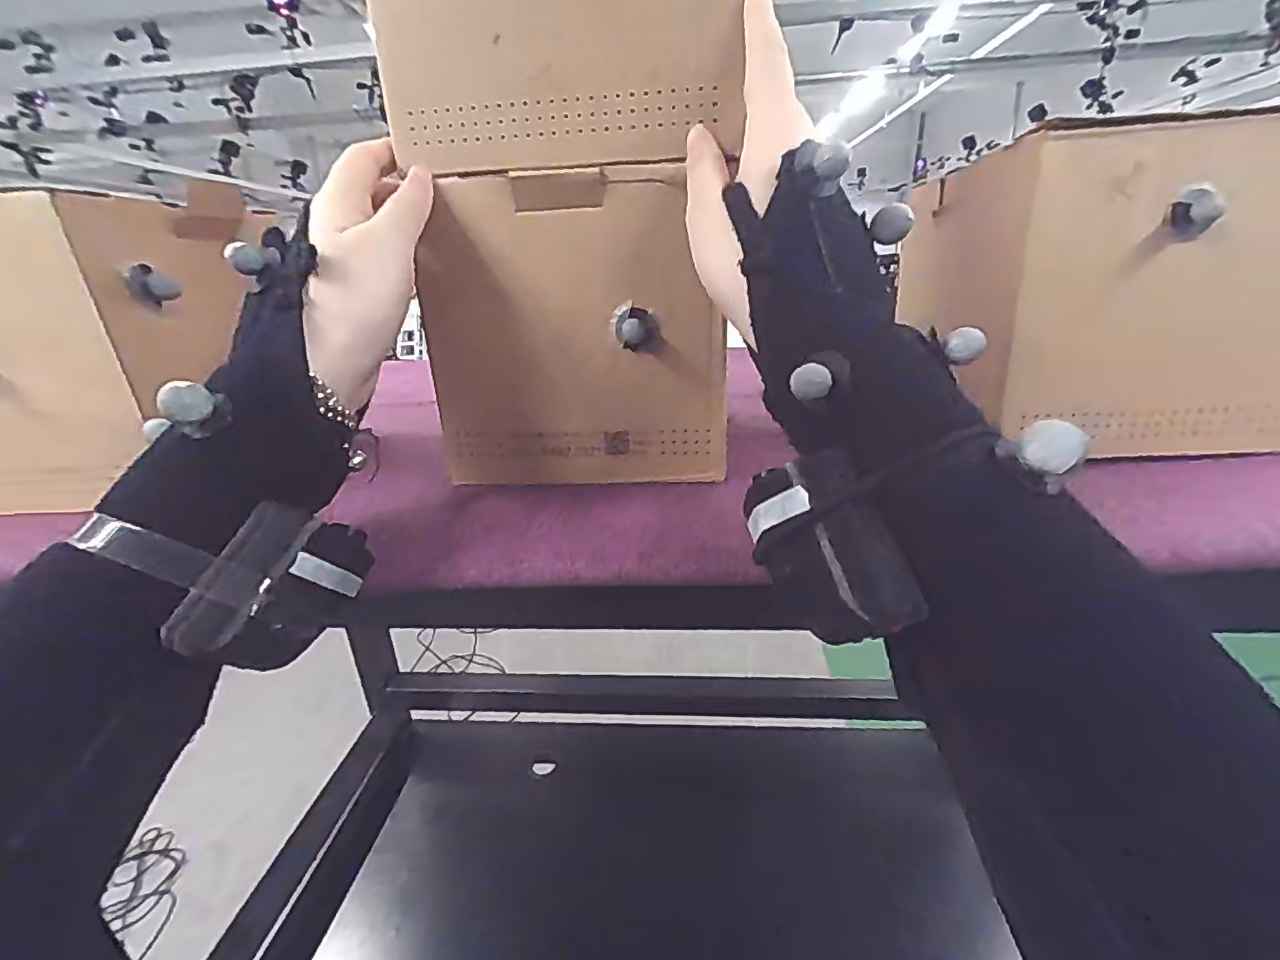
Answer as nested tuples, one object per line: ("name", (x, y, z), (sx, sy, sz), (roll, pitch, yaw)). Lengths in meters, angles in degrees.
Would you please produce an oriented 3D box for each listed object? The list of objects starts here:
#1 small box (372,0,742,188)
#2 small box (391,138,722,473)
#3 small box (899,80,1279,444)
("small box", (-0.035, -0.261, 0.304), (0.179, 0.176, 0.168), (0, 22, 6))
("small box", (-0.030, -0.107, 0.362), (0.168, 0.176, 0.179), (0, 20, 6))
("small box", (0.282, -0.122, 0.344), (0.179, 0.176, 0.168), (-2, 19, 4))
